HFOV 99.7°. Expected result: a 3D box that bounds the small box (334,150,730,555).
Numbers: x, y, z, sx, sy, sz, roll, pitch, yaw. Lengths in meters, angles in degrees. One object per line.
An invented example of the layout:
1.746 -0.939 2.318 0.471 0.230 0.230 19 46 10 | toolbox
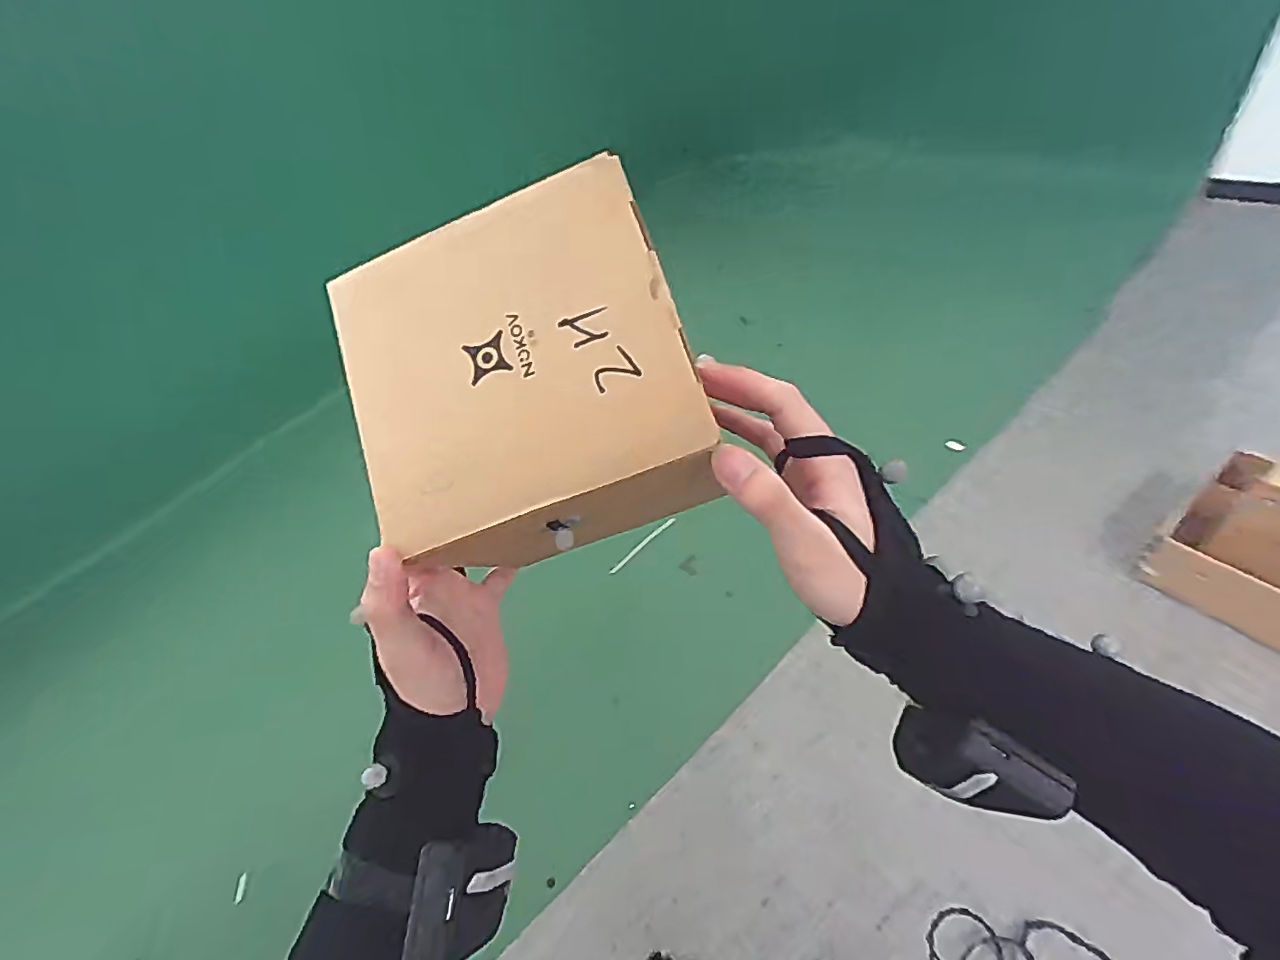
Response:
-0.051 -0.053 0.347 0.179 0.176 0.168 -19 78 8 | small box
